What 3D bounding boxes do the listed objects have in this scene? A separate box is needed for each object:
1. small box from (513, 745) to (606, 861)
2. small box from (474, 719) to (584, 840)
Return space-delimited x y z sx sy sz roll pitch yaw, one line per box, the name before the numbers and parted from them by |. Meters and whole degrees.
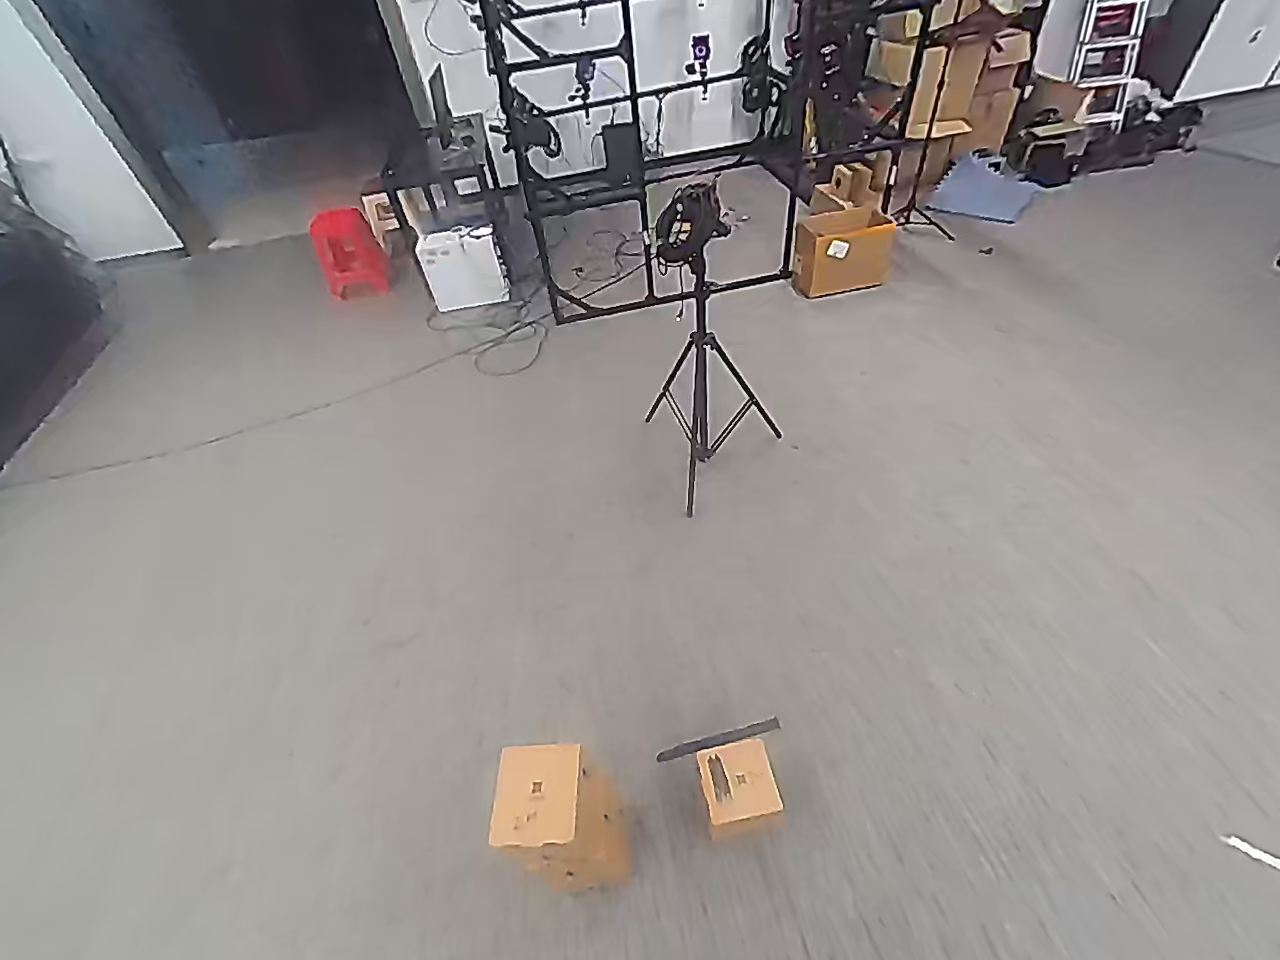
small box | -0.172 0.709 1.186 0.168 0.176 0.179 -10 47 1
small box | -0.208 0.594 1.072 0.168 0.176 0.179 -5 47 5
